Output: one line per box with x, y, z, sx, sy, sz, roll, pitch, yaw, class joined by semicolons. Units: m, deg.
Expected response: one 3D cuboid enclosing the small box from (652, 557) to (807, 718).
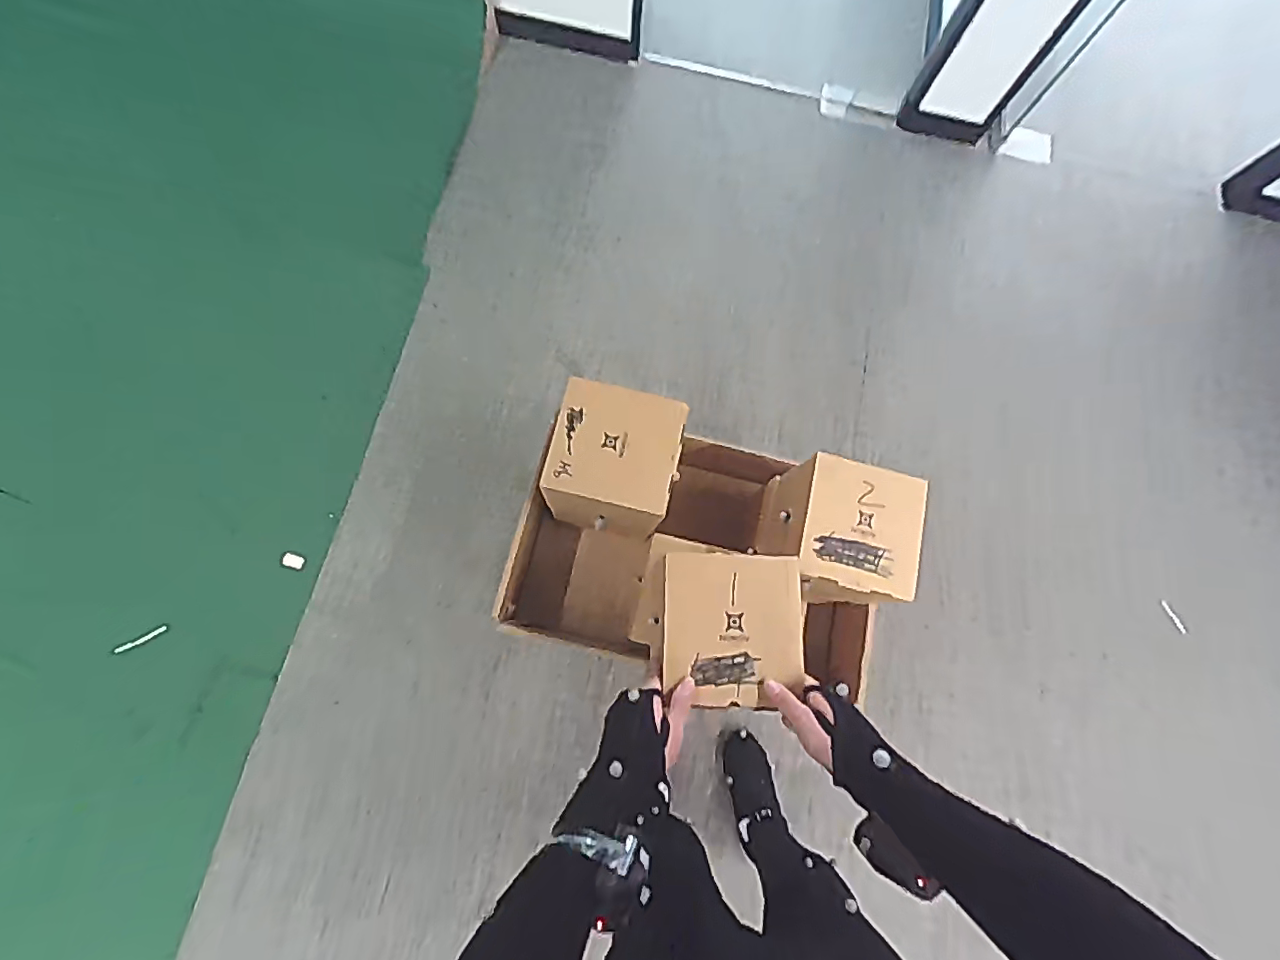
0.106;0.200;0.701;0.168;0.176;0.179;3;74;-3;small box

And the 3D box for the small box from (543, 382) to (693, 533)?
-0.035;-0.022;0.819;0.179;0.176;0.168;15;75;-2;small box
